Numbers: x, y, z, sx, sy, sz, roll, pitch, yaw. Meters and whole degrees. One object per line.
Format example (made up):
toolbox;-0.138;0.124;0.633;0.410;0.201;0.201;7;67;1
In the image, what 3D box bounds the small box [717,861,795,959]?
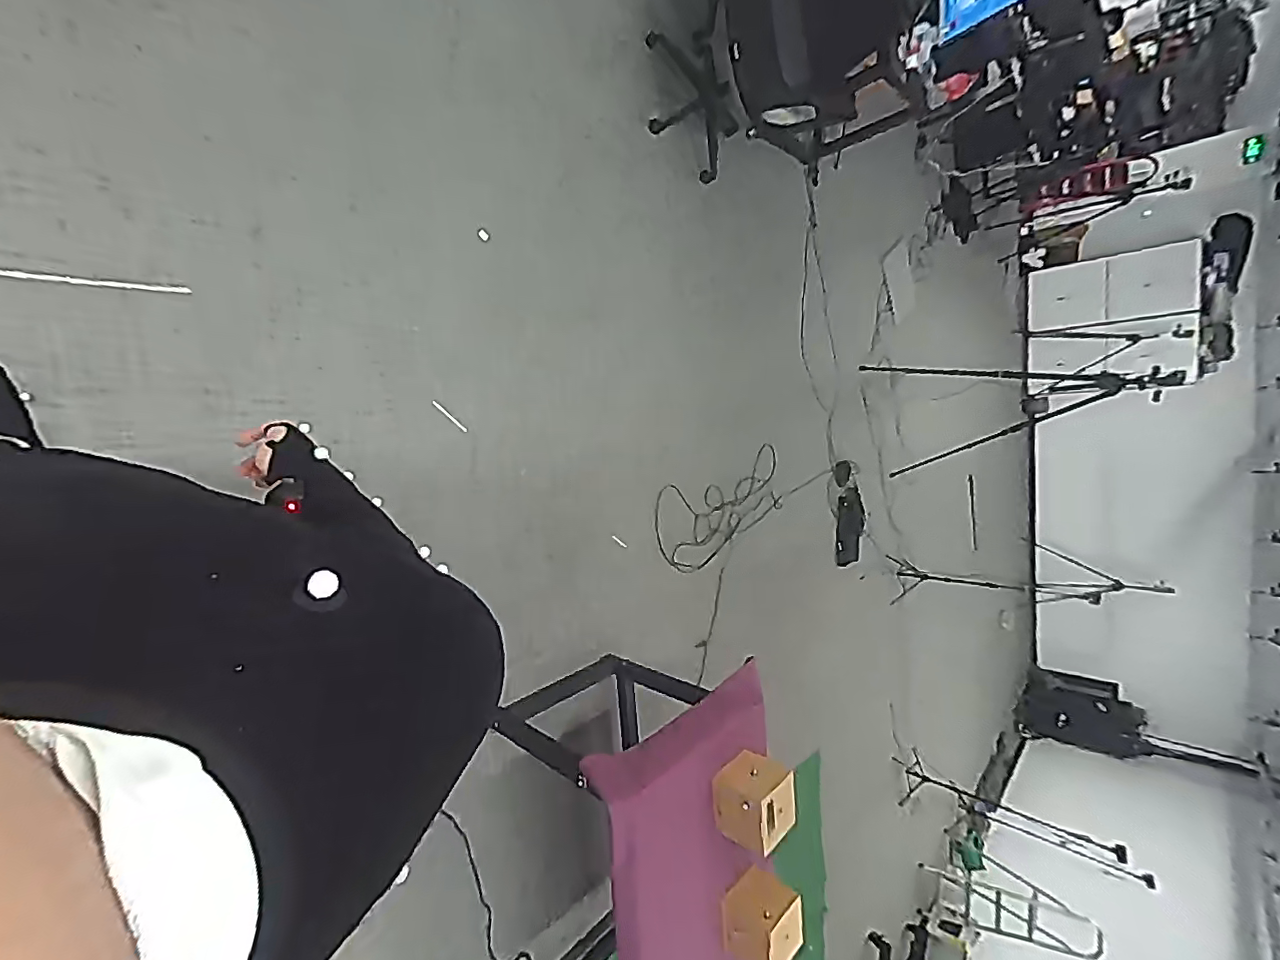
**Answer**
small box;0.351;1.309;1.633;0.179;0.176;0.168;-10;99;-44
